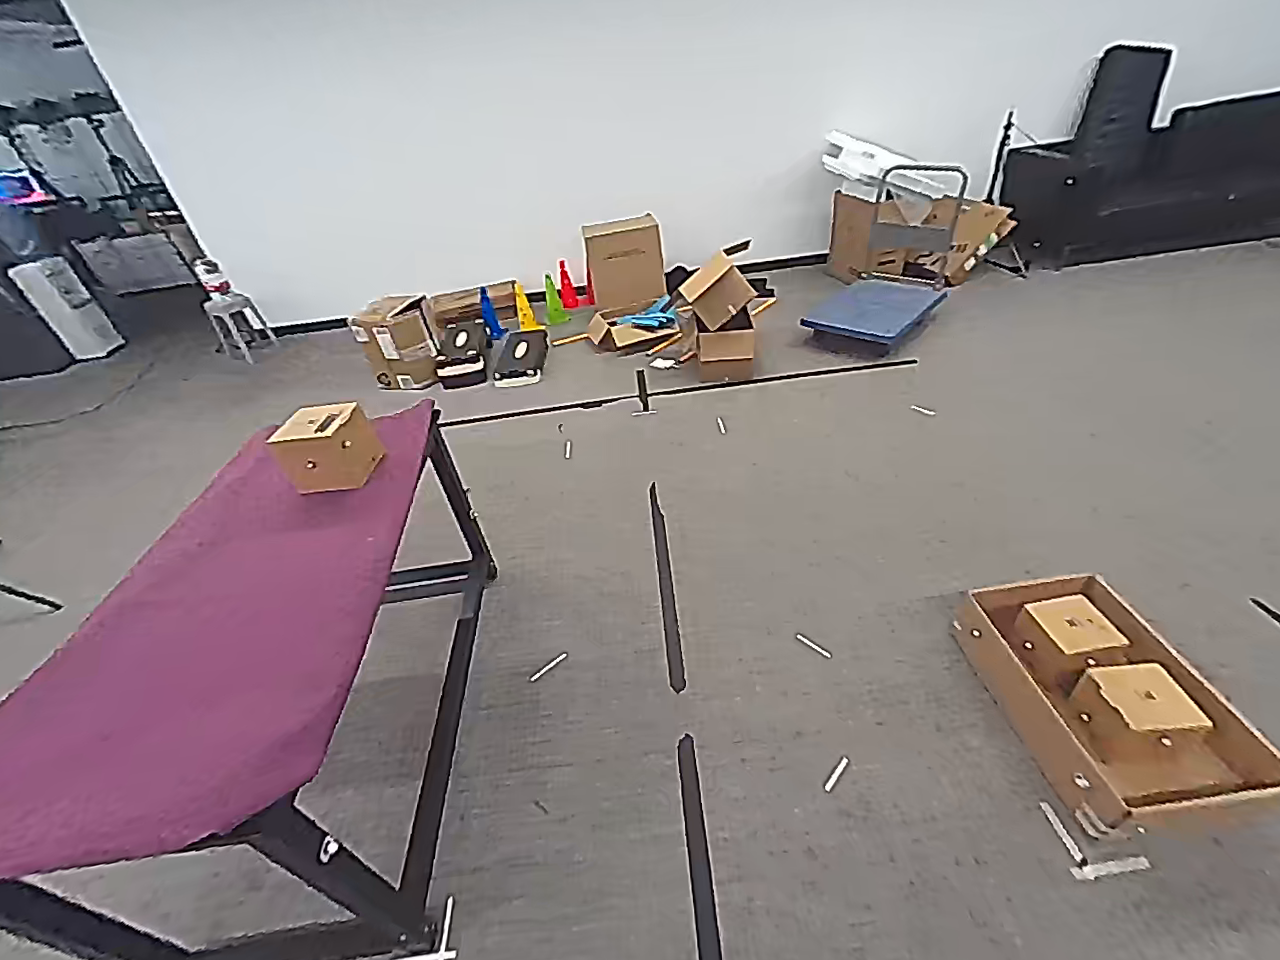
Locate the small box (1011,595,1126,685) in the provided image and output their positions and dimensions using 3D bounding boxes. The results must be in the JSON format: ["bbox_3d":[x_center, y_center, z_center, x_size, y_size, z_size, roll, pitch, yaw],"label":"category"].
[{"bbox_3d":[1.183,0.450,1.515,0.179,0.176,0.168,-9,39,-2],"label":"small box"}]

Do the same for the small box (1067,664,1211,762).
[{"bbox_3d":[1.222,0.580,1.344,0.179,0.176,0.168,-5,37,4],"label":"small box"}]
